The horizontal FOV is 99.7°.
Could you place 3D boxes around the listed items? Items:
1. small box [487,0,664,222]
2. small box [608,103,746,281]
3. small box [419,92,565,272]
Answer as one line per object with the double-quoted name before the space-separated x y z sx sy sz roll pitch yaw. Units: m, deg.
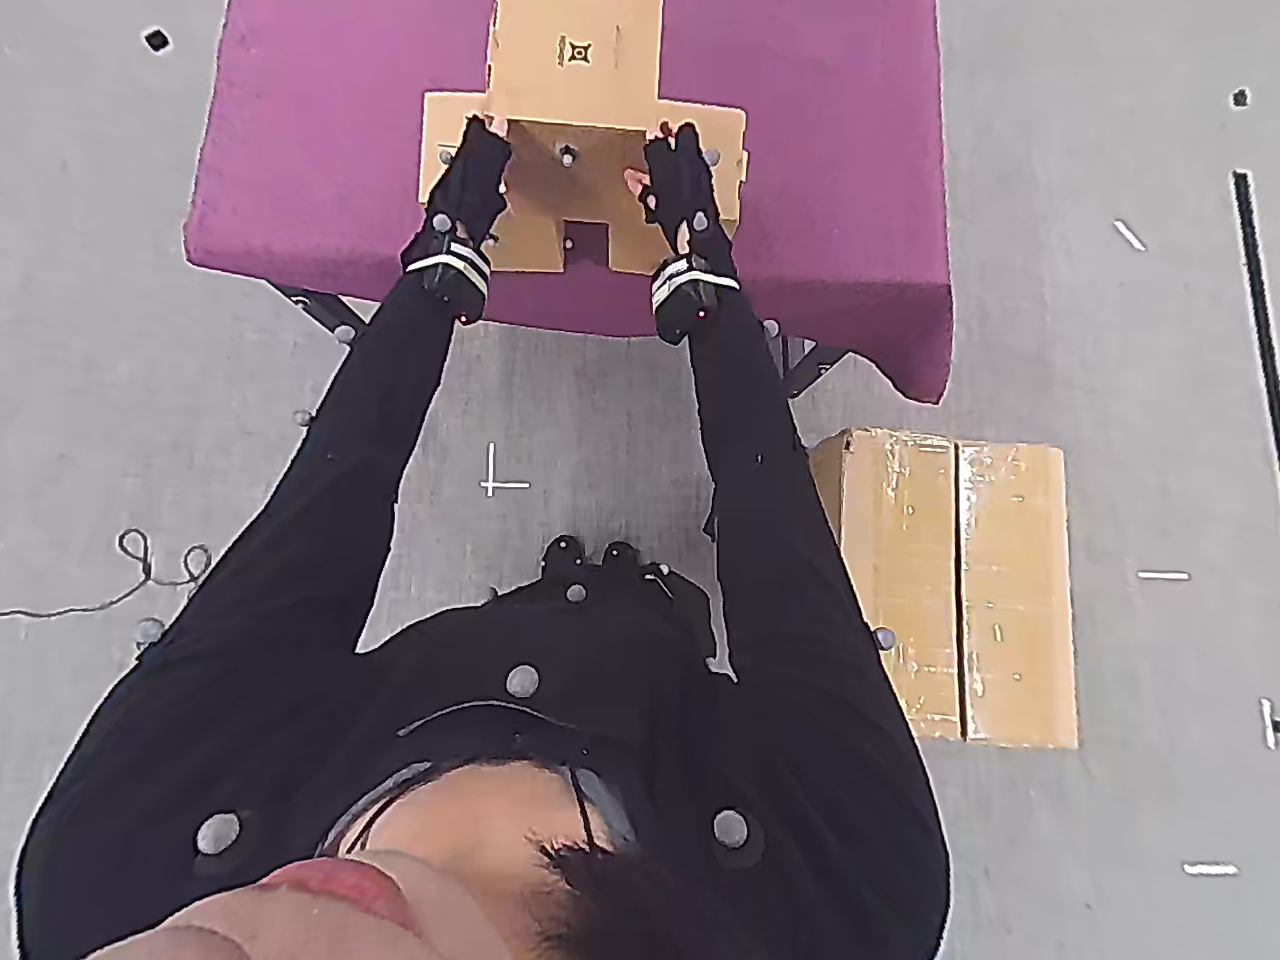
"small box" -0.069 -0.430 0.638 0.179 0.176 0.168 3 83 -4
"small box" 0.048 -0.419 0.808 0.179 0.176 0.168 6 81 -2
"small box" -0.202 -0.423 0.793 0.179 0.176 0.168 1 80 -2
